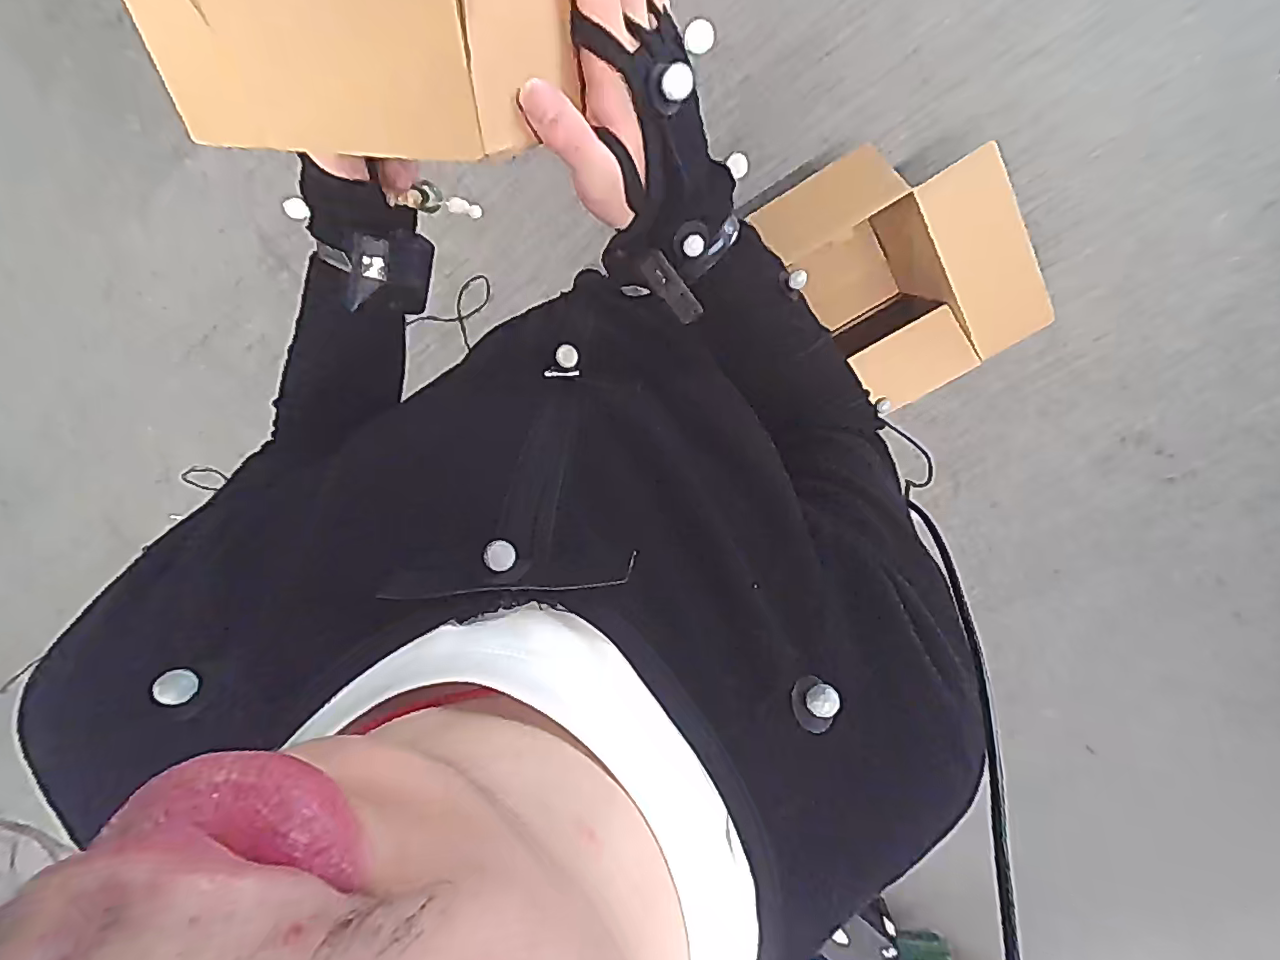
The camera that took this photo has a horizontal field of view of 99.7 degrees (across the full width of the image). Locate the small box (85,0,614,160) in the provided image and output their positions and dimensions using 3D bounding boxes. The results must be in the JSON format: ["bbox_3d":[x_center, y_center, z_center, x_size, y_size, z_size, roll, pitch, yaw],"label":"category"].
[{"bbox_3d":[-0.118,-0.251,0.231,0.179,0.176,0.168,14,133,18],"label":"small box"}]
